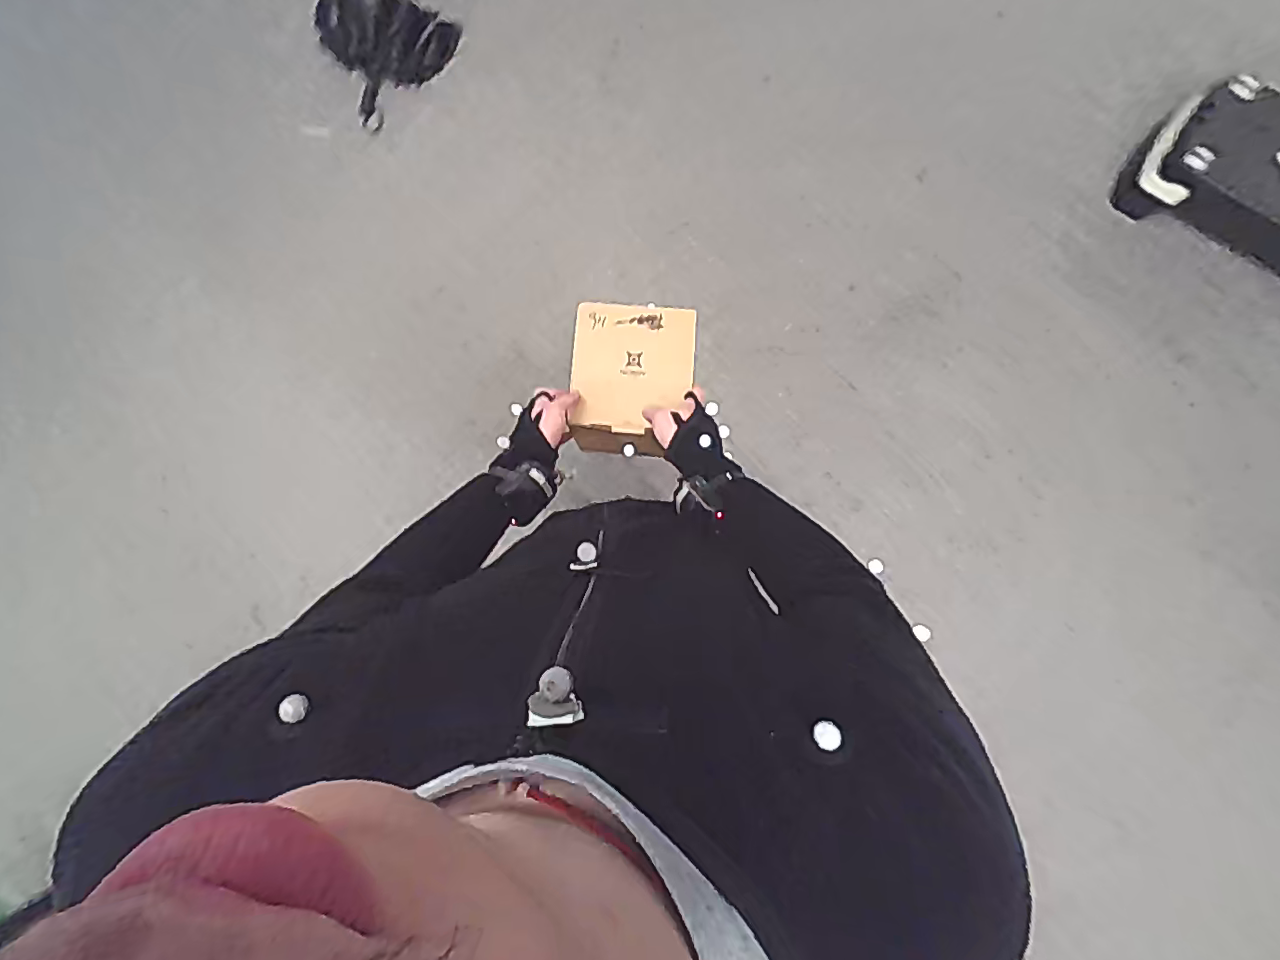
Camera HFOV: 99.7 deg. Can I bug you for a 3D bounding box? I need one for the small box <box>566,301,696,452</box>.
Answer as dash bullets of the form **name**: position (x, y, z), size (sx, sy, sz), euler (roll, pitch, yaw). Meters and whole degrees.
- **small box**: position (-0.008, -0.141, 0.795), size (0.168, 0.176, 0.179), euler (3, 81, 2)
